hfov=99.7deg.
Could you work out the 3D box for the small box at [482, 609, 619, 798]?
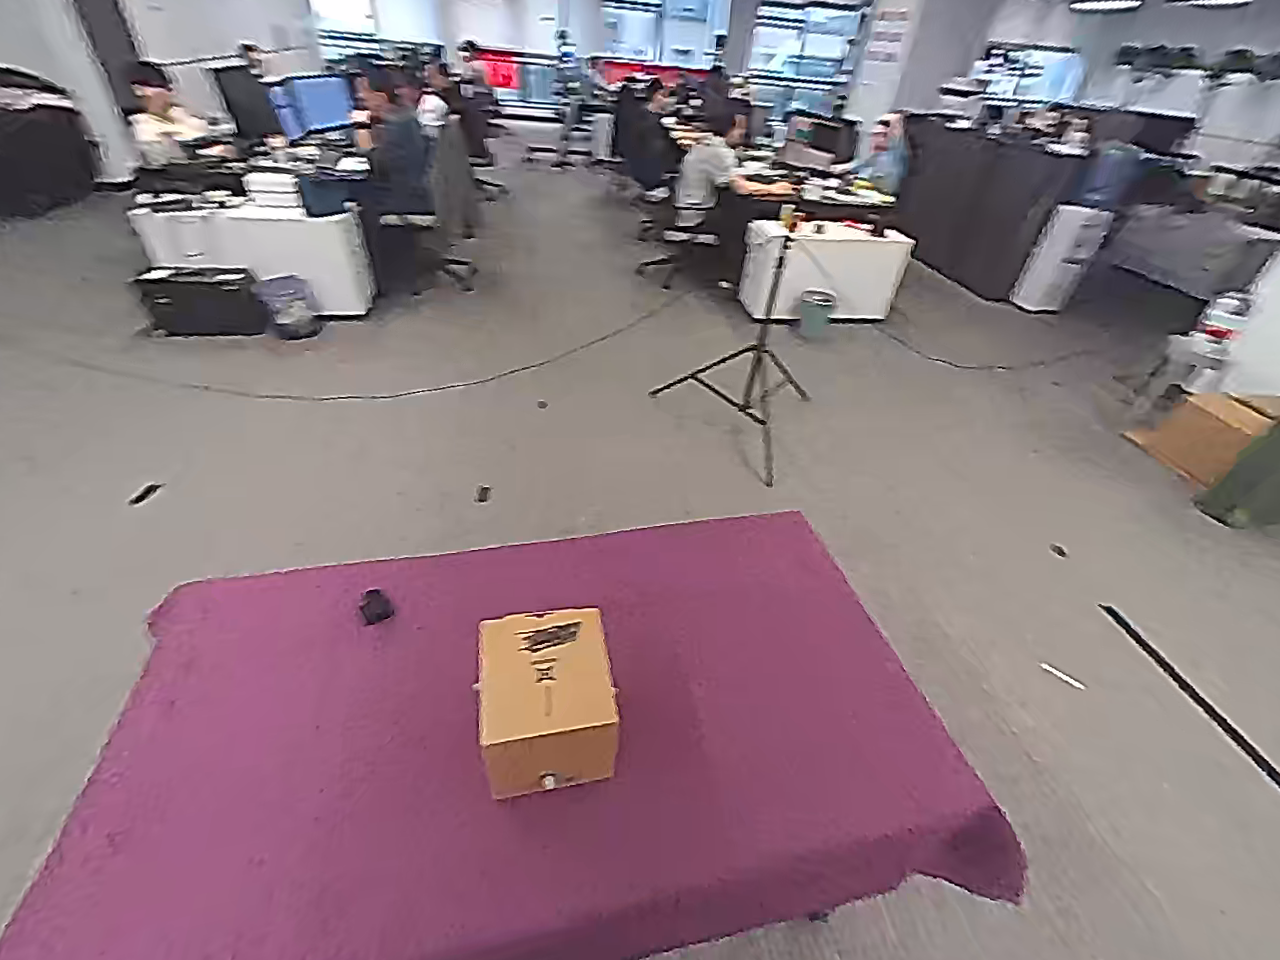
[{"bbox_3d":[-0.130,0.310,0.761,0.168,0.176,0.179,-5,41,-13],"label":"small box"}]
